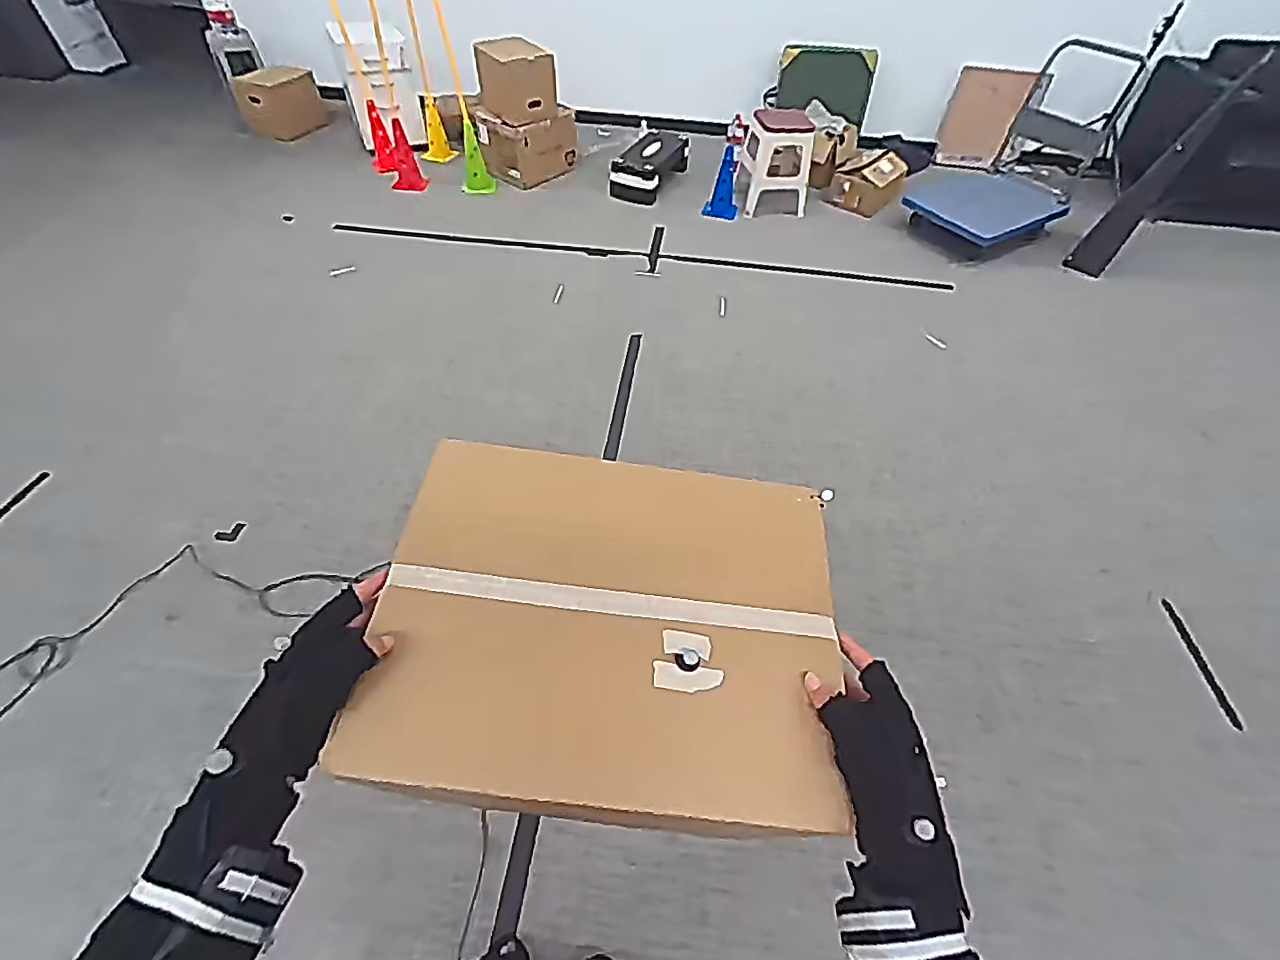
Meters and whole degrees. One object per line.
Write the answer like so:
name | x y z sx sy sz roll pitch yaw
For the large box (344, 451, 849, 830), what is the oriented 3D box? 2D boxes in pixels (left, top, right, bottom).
large box | -0.036 0.200 0.622 0.408 0.320 0.320 8 56 -3
